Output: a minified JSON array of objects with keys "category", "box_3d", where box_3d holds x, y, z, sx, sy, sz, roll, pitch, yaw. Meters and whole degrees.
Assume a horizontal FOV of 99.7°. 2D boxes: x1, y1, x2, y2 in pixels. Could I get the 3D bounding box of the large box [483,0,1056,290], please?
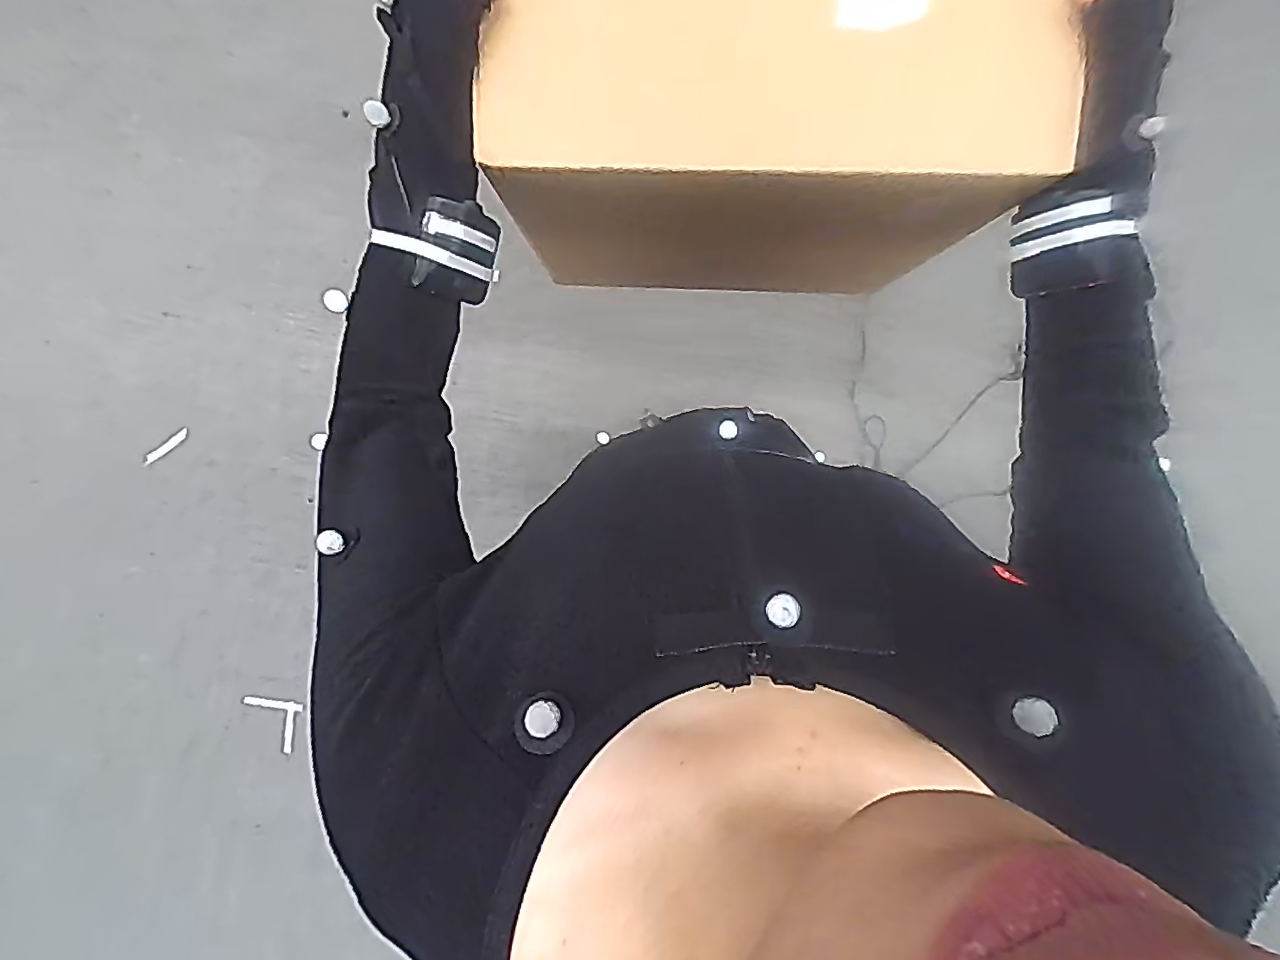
[{"category":"large box","box_3d":[0.088,-0.382,0.521,0.408,0.320,0.320,1,95,1]}]
